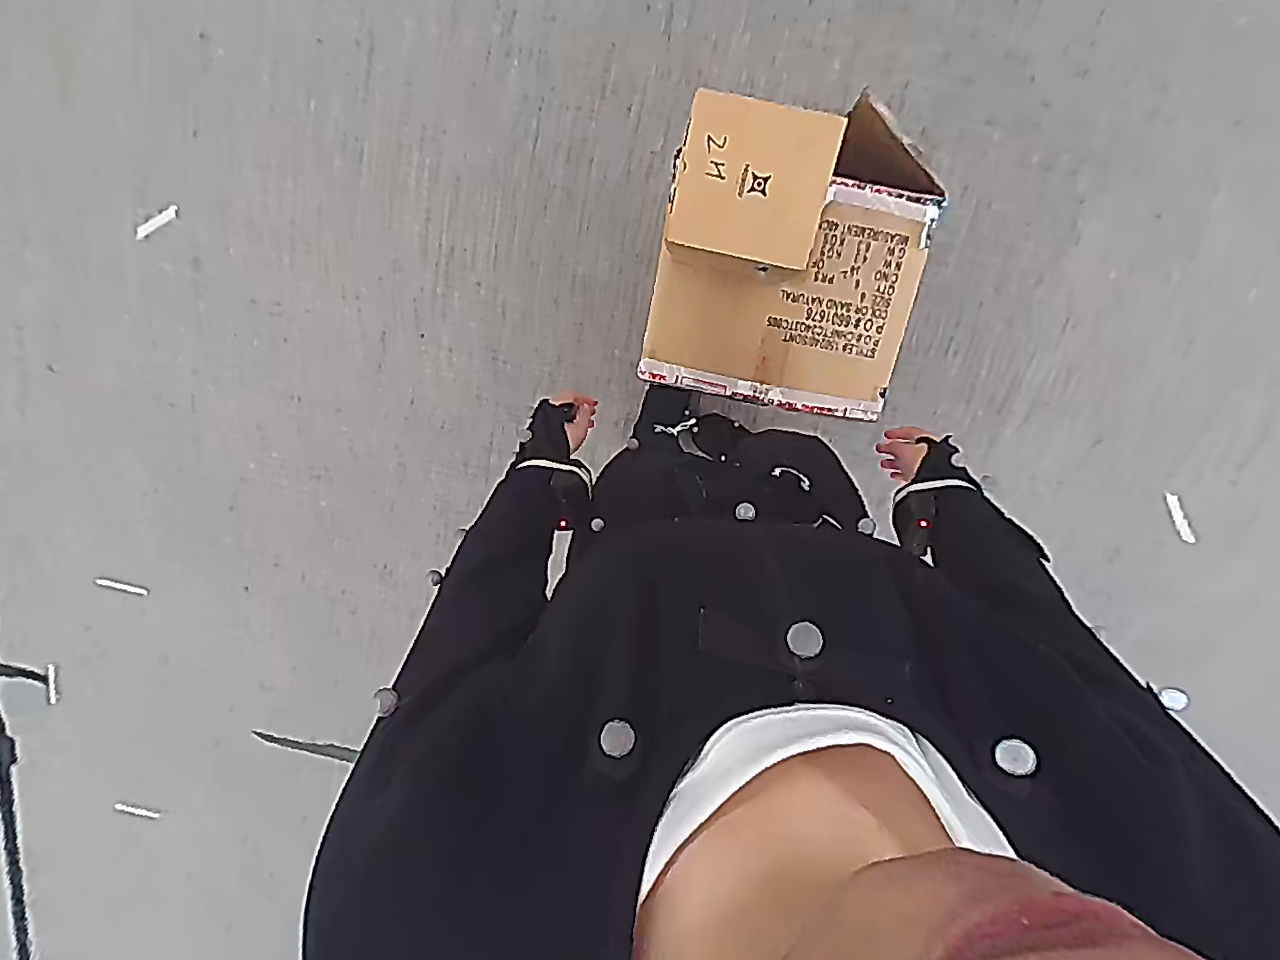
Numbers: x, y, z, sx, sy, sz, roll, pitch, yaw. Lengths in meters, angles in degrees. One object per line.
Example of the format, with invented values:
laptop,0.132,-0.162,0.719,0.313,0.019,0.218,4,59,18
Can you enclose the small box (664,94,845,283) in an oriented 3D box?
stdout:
small box,0.138,-0.364,0.709,0.179,0.176,0.168,14,105,3
